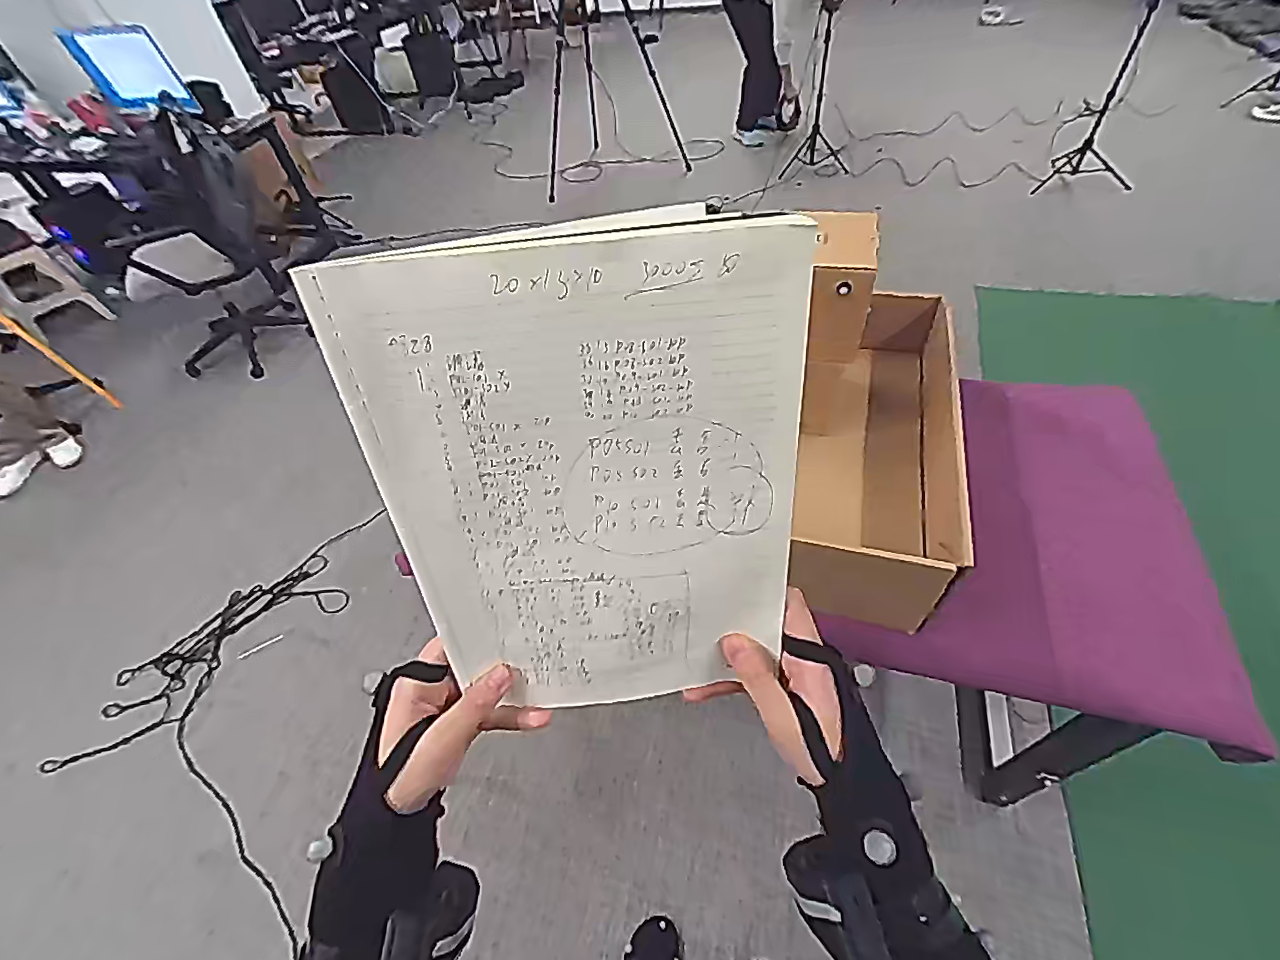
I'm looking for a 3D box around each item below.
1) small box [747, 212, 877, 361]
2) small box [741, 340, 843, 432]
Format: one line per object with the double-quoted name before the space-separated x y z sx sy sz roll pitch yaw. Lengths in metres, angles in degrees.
"small box" 0.271 -0.310 0.870 0.179 0.176 0.168 8 52 14
"small box" 0.284 -0.210 0.997 0.168 0.176 0.179 10 53 16
